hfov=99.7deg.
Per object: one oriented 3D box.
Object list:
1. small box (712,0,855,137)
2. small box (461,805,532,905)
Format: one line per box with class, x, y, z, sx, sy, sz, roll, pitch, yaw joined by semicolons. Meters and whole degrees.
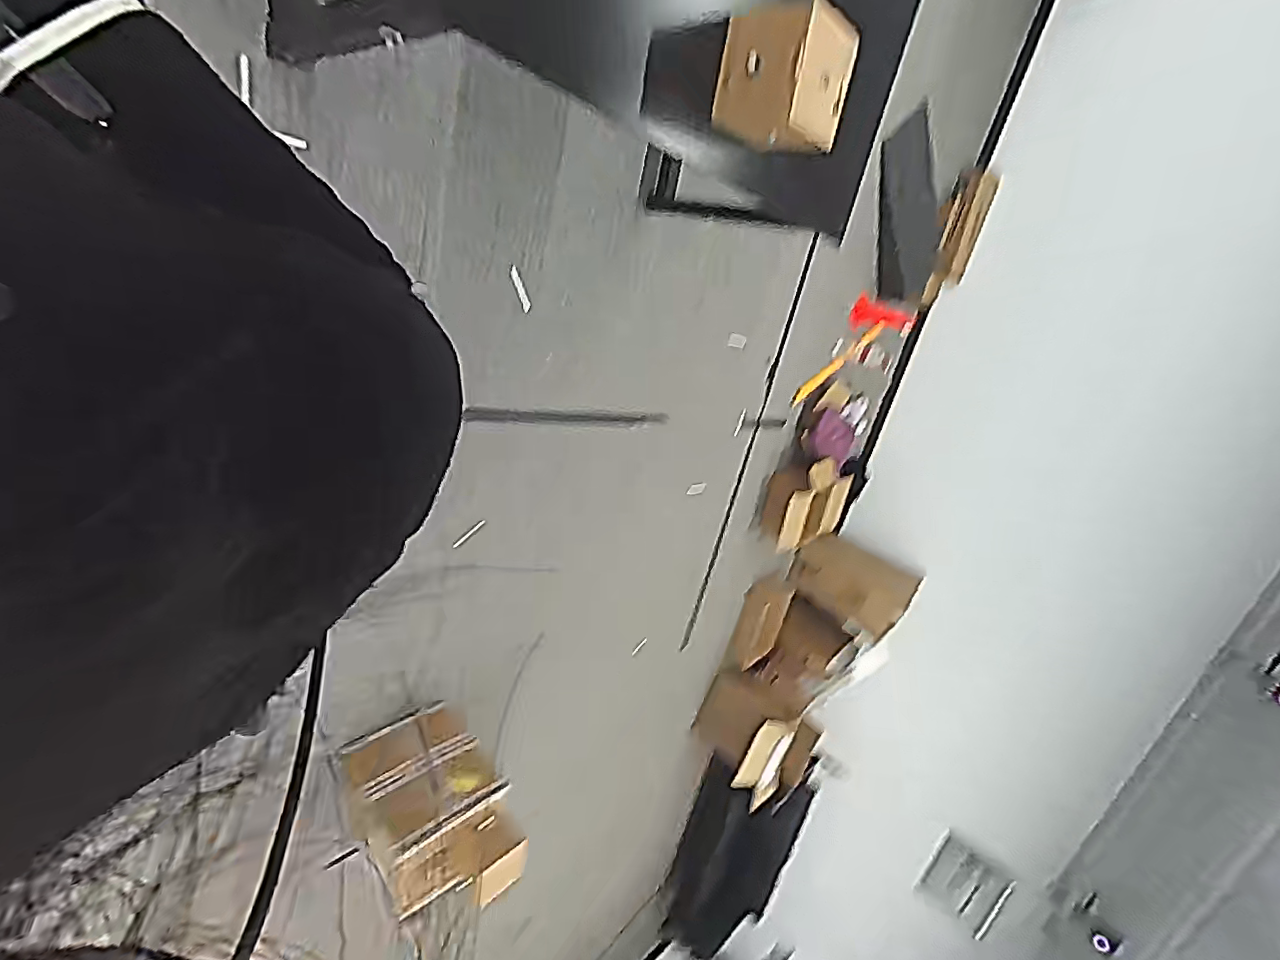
small box;0.256;-0.740;0.986;0.179;0.176;0.168;-13;122;-44
small box;-0.482;1.238;1.800;0.168;0.176;0.179;-14;119;-46
